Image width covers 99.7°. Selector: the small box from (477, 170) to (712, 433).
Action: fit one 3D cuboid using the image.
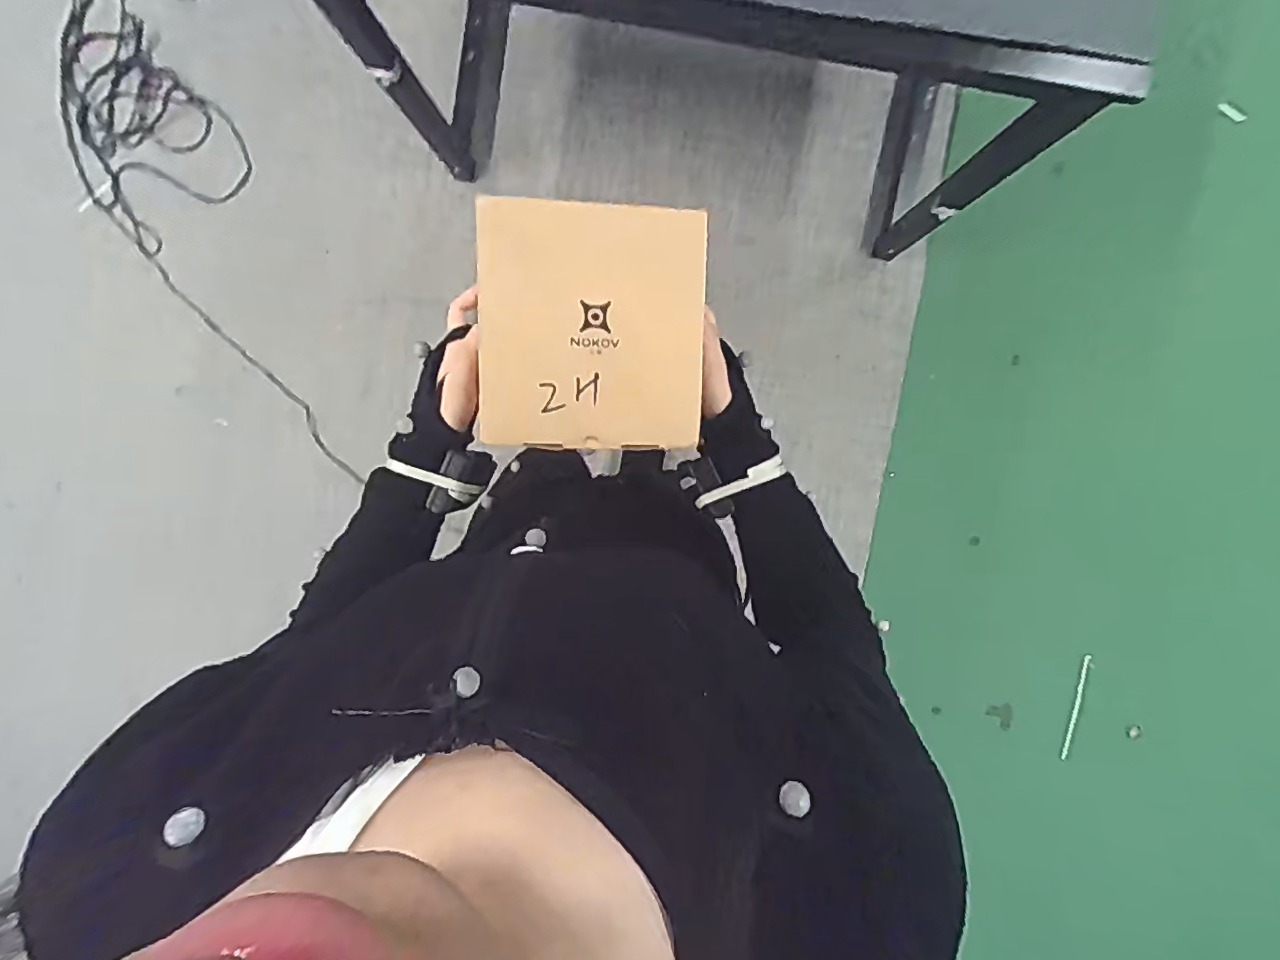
[{"bbox_3d":[-0.041,-0.130,0.458,0.168,0.176,0.179,-1,97,-7],"label":"small box"}]
